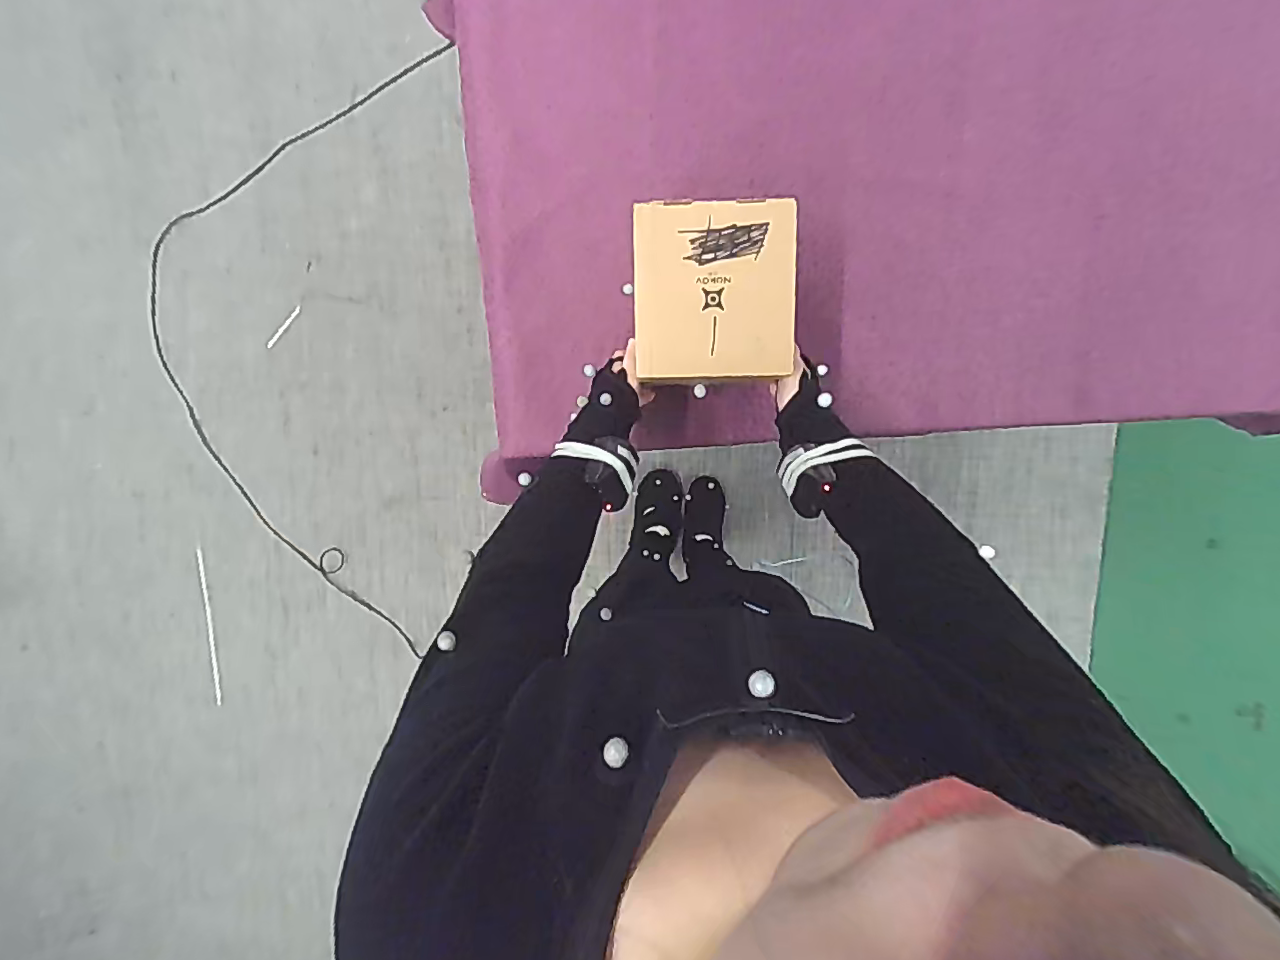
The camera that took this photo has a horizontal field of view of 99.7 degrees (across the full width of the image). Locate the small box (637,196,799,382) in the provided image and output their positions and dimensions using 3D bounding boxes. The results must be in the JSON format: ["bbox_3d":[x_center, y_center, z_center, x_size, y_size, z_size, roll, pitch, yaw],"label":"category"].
[{"bbox_3d":[0.080,-0.208,0.631,0.168,0.176,0.179,0,98,2],"label":"small box"}]
